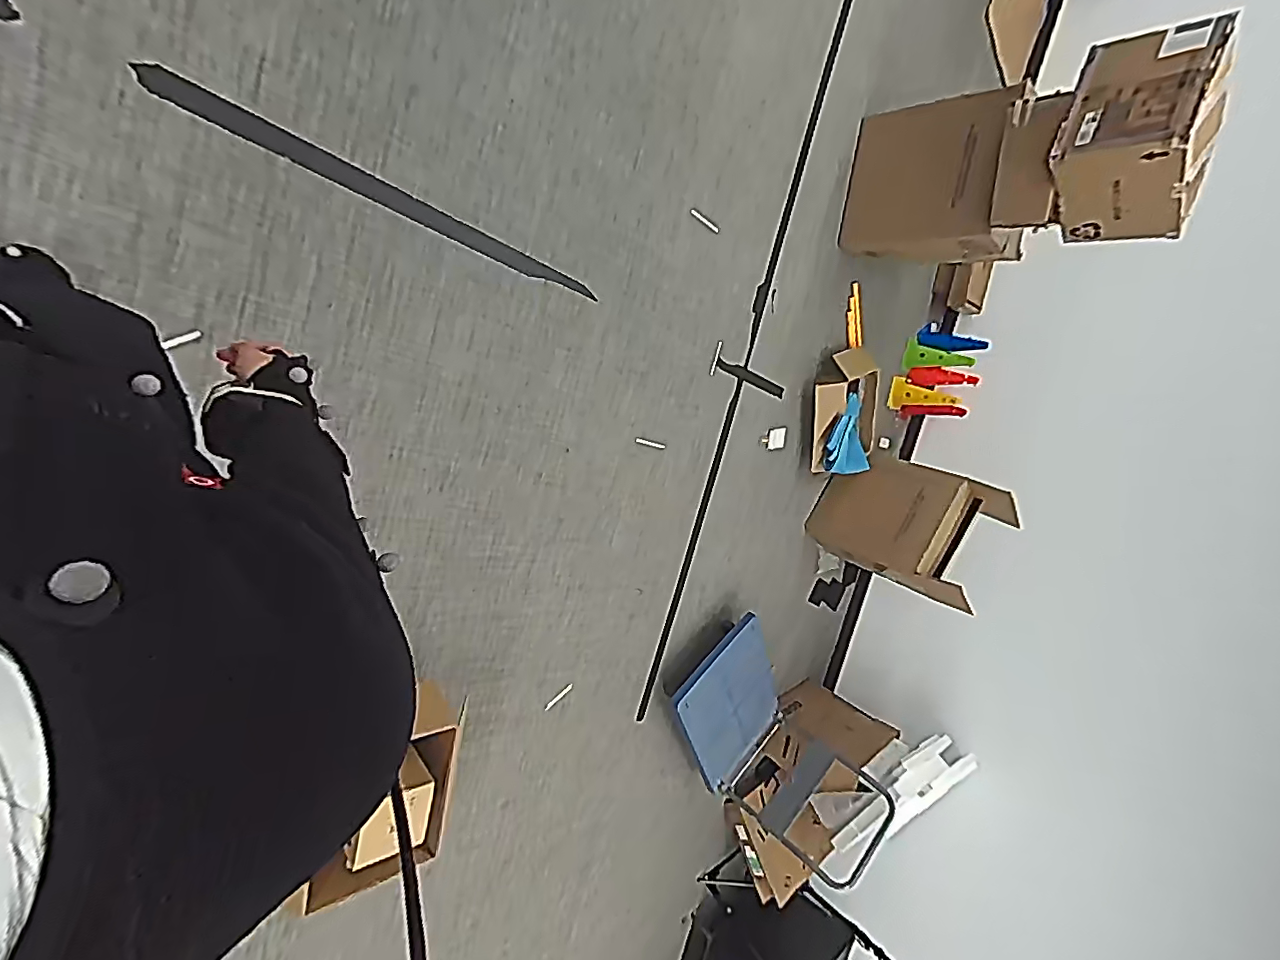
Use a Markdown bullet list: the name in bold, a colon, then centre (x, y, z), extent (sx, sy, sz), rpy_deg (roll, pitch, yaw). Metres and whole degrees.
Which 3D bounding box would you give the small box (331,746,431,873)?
- **small box**: centre (-0.639, 0.794, 1.323), extent (0.168, 0.176, 0.179), rpy_deg (6, 100, -46)
